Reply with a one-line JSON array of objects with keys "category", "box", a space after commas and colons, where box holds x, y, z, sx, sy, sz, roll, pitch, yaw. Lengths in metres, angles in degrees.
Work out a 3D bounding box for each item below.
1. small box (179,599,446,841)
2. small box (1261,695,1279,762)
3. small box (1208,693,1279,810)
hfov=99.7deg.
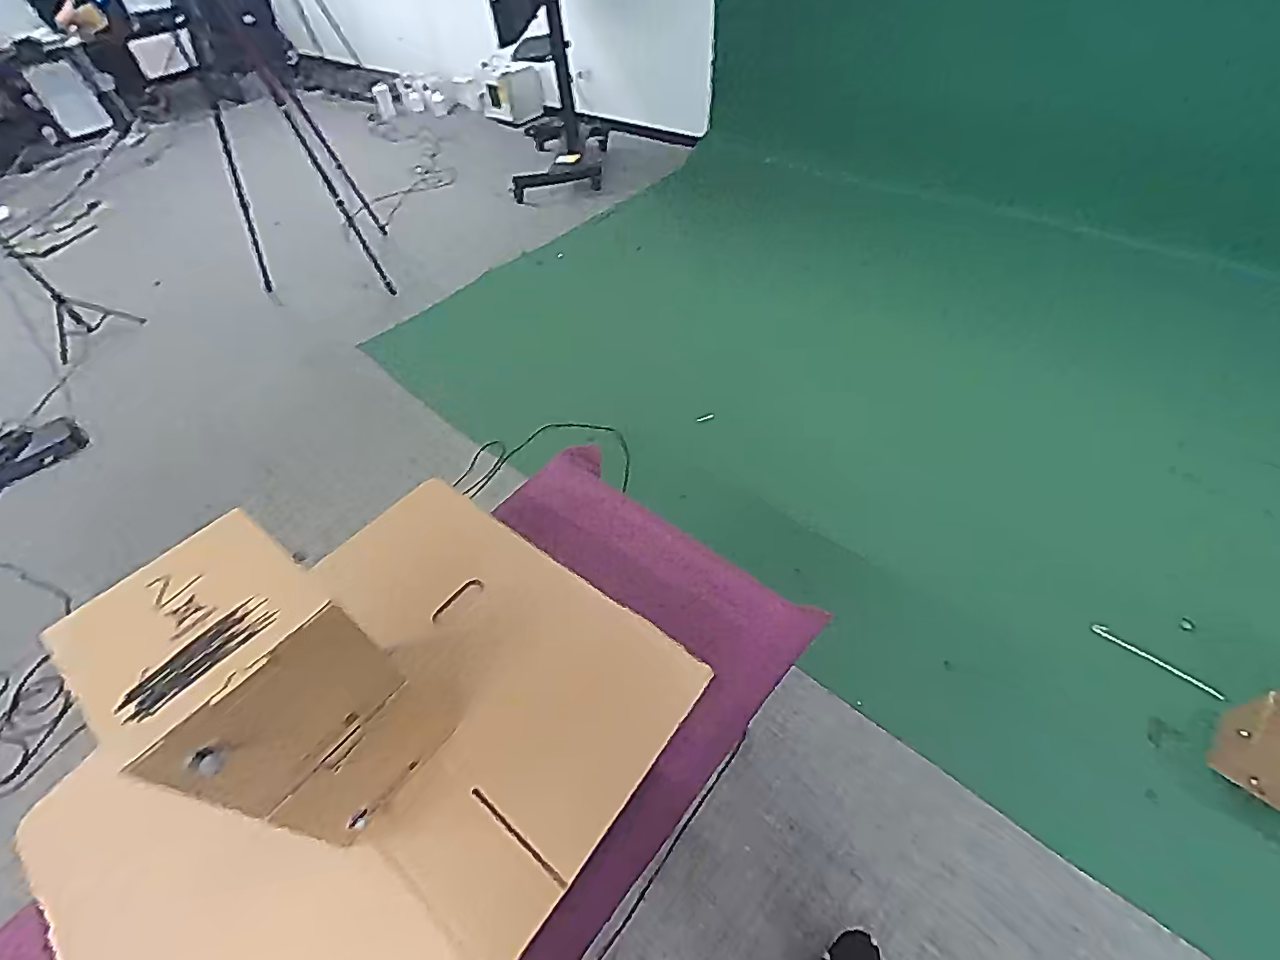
[{"category": "small box", "box": [-0.356, 0.278, 0.620, 0.179, 0.176, 0.168, 28, 56, 26]}, {"category": "small box", "box": [1.526, 0.558, 1.171, 0.179, 0.176, 0.168, -39, 57, -23]}, {"category": "small box", "box": [1.539, 0.657, 1.302, 0.168, 0.176, 0.179, 35, 62, 29]}]
